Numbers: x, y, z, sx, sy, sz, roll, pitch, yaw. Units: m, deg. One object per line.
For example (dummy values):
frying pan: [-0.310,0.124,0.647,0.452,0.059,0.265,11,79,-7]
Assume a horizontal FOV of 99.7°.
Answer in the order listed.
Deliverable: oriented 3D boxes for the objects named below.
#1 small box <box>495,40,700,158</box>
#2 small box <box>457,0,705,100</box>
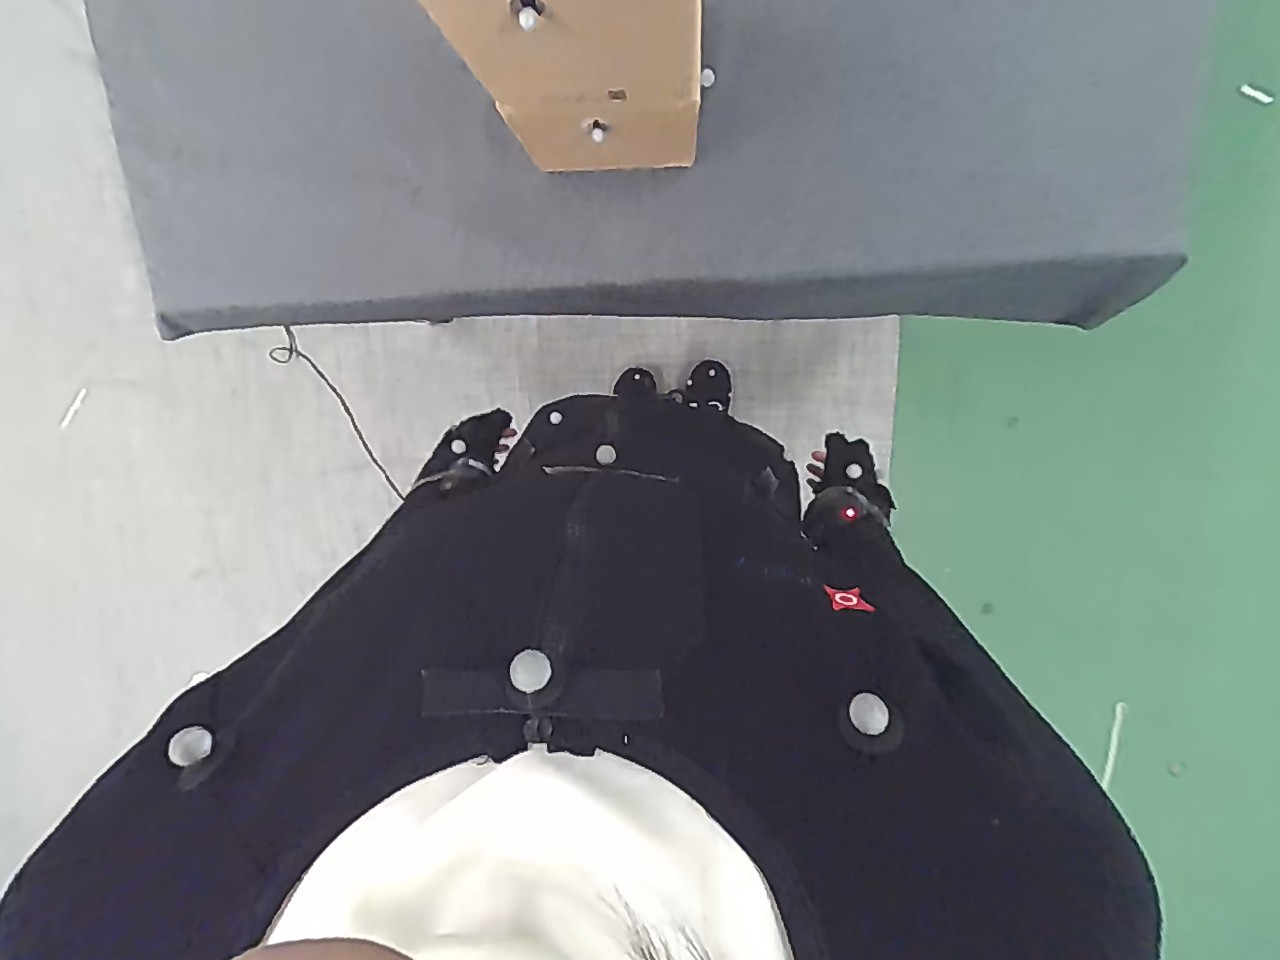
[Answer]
small box: [-0.031,-0.426,0.517,0.179,0.176,0.168,0,104,4]
small box: [-0.041,-0.391,0.360,0.168,0.176,0.179,-1,104,4]
